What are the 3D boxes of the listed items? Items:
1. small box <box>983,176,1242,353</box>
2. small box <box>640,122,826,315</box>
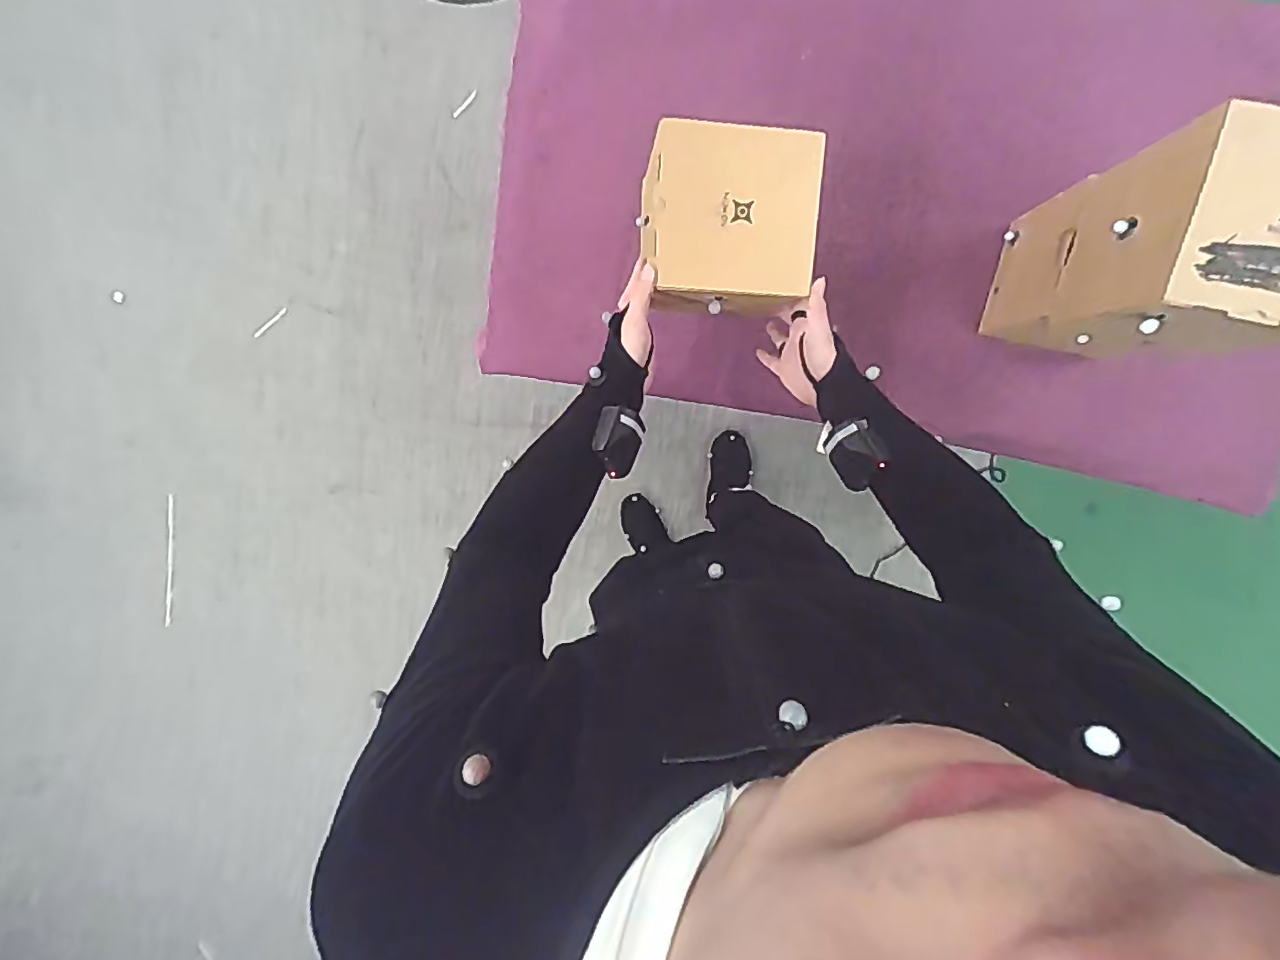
[{"bbox_3d":[0.600,-0.270,0.717,0.179,0.176,0.168,13,99,3],"label":"small box"},{"bbox_3d":[0.096,-0.293,0.644,0.179,0.176,0.168,1,100,-4],"label":"small box"}]
